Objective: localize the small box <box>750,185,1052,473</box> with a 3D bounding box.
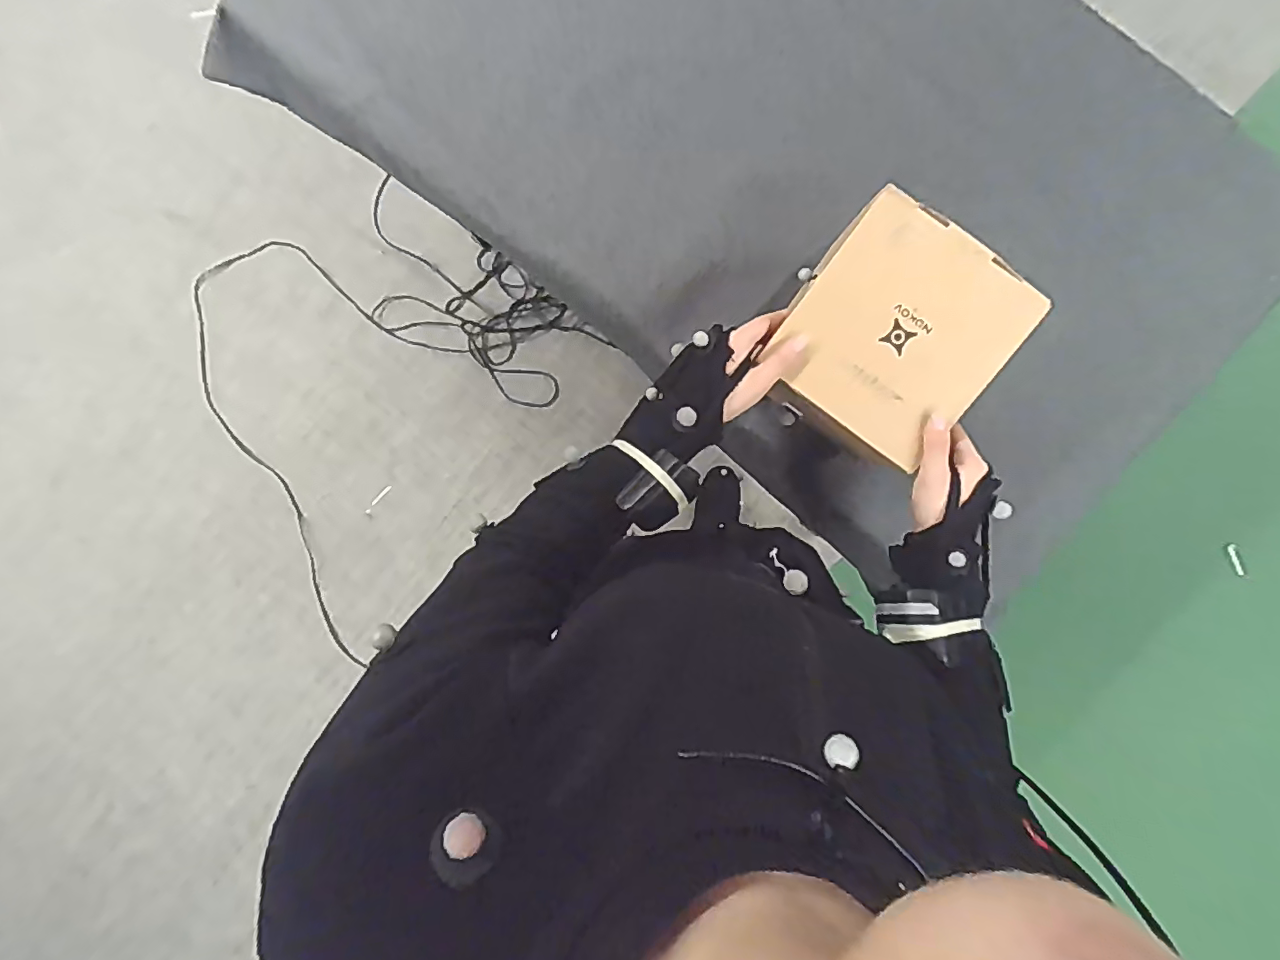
[{"bbox_3d":[0.222,-0.131,0.521,0.168,0.176,0.179,35,100,1],"label":"small box"}]
